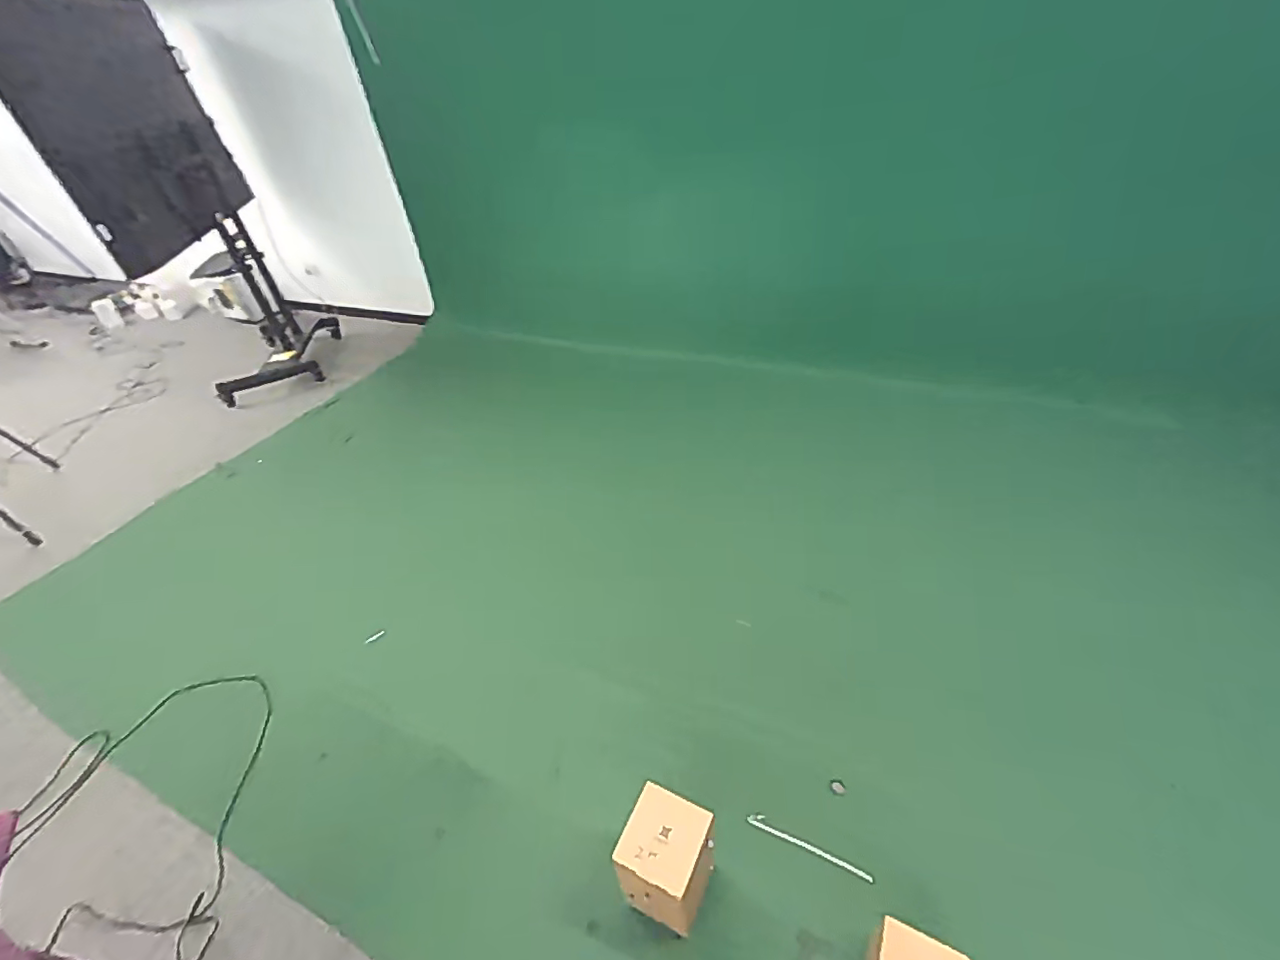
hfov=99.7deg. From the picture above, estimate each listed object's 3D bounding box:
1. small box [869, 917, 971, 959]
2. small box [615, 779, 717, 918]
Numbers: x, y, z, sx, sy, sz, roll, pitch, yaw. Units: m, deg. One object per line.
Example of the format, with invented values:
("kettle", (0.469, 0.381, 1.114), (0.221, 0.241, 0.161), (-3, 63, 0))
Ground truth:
("small box", (0.566, 1.059, 1.111), (0.168, 0.176, 0.179), (15, 45, 24))
("small box", (0.062, 0.822, 1.209), (0.168, 0.176, 0.179), (15, 44, 25))
